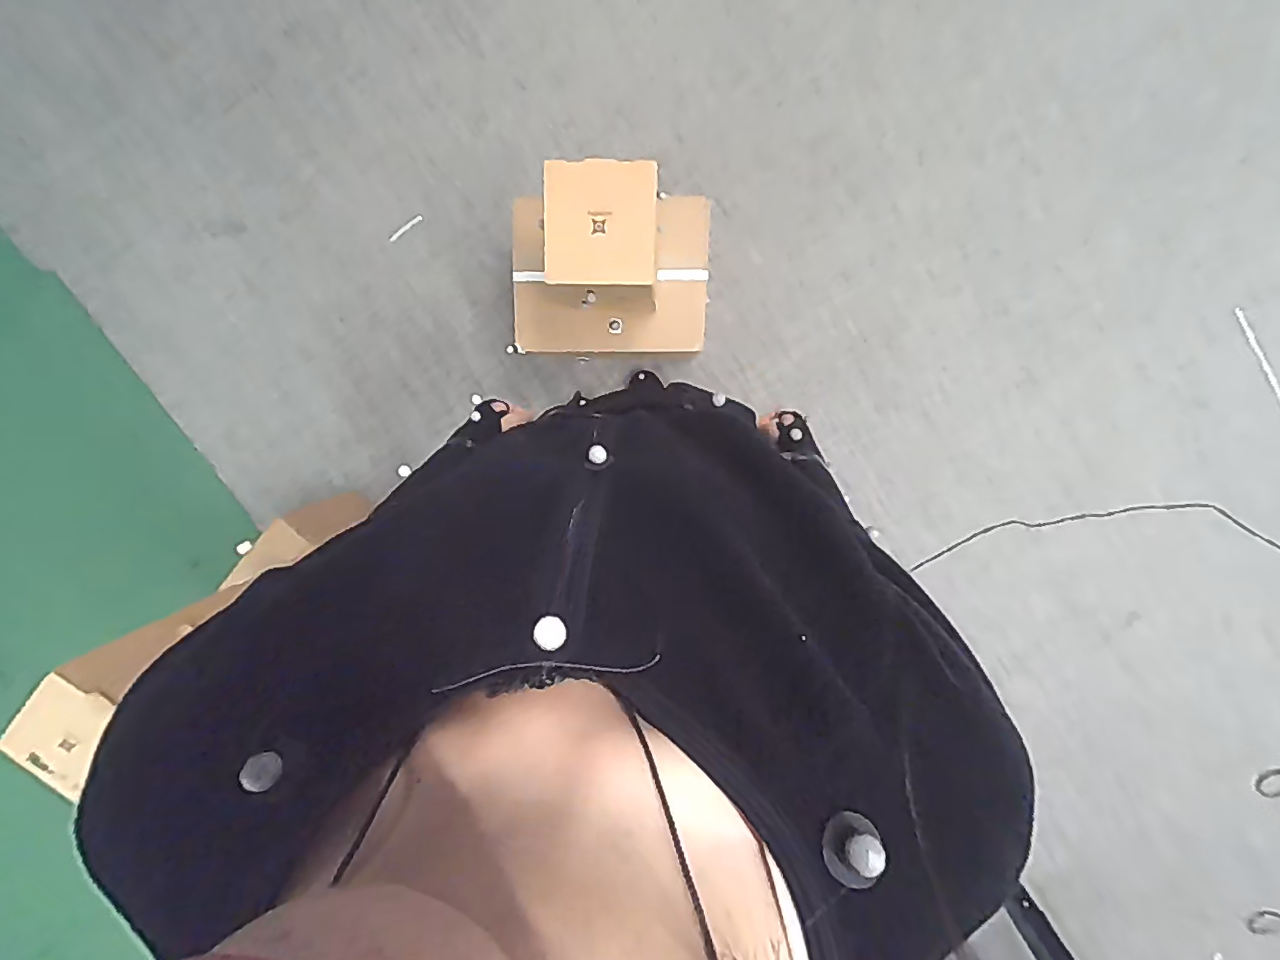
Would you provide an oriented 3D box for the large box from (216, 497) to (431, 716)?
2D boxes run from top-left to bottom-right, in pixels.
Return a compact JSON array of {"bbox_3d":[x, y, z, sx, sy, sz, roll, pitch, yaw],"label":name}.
[{"bbox_3d":[-0.847,0.313,1.436,0.320,0.320,0.408,42,100,-3],"label":"large box"}]

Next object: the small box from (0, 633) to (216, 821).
[{"bbox_3d":[-0.838,0.381,0.866,0.168,0.176,0.179,42,97,-4],"label":"small box"}]

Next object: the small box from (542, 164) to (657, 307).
[{"bbox_3d":[-0.058,-0.380,0.868,0.168,0.176,0.179,1,98,2],"label":"small box"}]
